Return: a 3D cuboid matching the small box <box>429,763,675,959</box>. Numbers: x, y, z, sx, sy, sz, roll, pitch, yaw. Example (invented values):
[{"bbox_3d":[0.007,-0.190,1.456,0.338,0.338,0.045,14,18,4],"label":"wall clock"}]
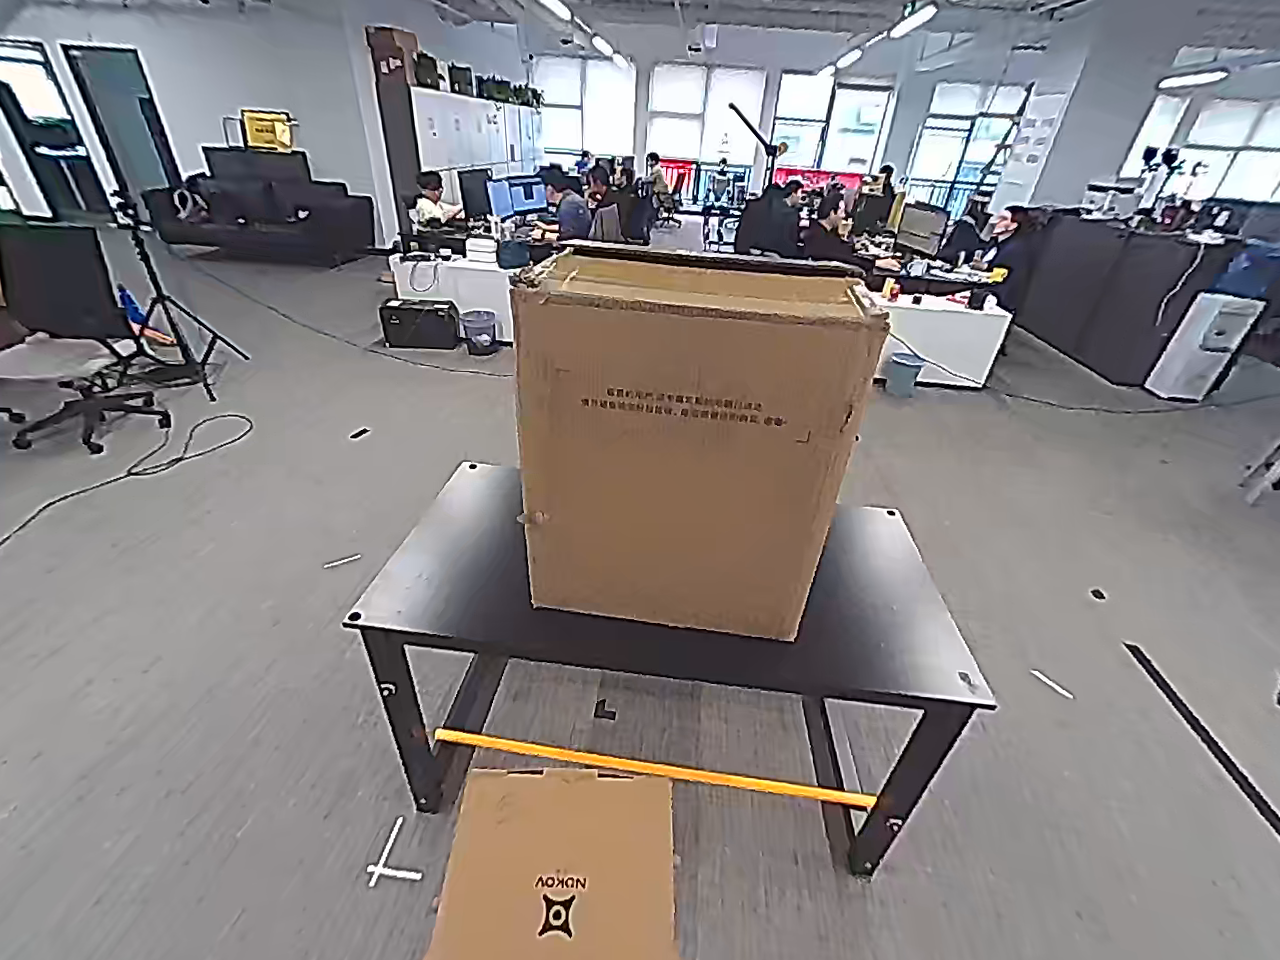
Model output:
[{"bbox_3d":[-0.063,0.353,0.436,0.168,0.176,0.179,3,45,-2],"label":"small box"}]
